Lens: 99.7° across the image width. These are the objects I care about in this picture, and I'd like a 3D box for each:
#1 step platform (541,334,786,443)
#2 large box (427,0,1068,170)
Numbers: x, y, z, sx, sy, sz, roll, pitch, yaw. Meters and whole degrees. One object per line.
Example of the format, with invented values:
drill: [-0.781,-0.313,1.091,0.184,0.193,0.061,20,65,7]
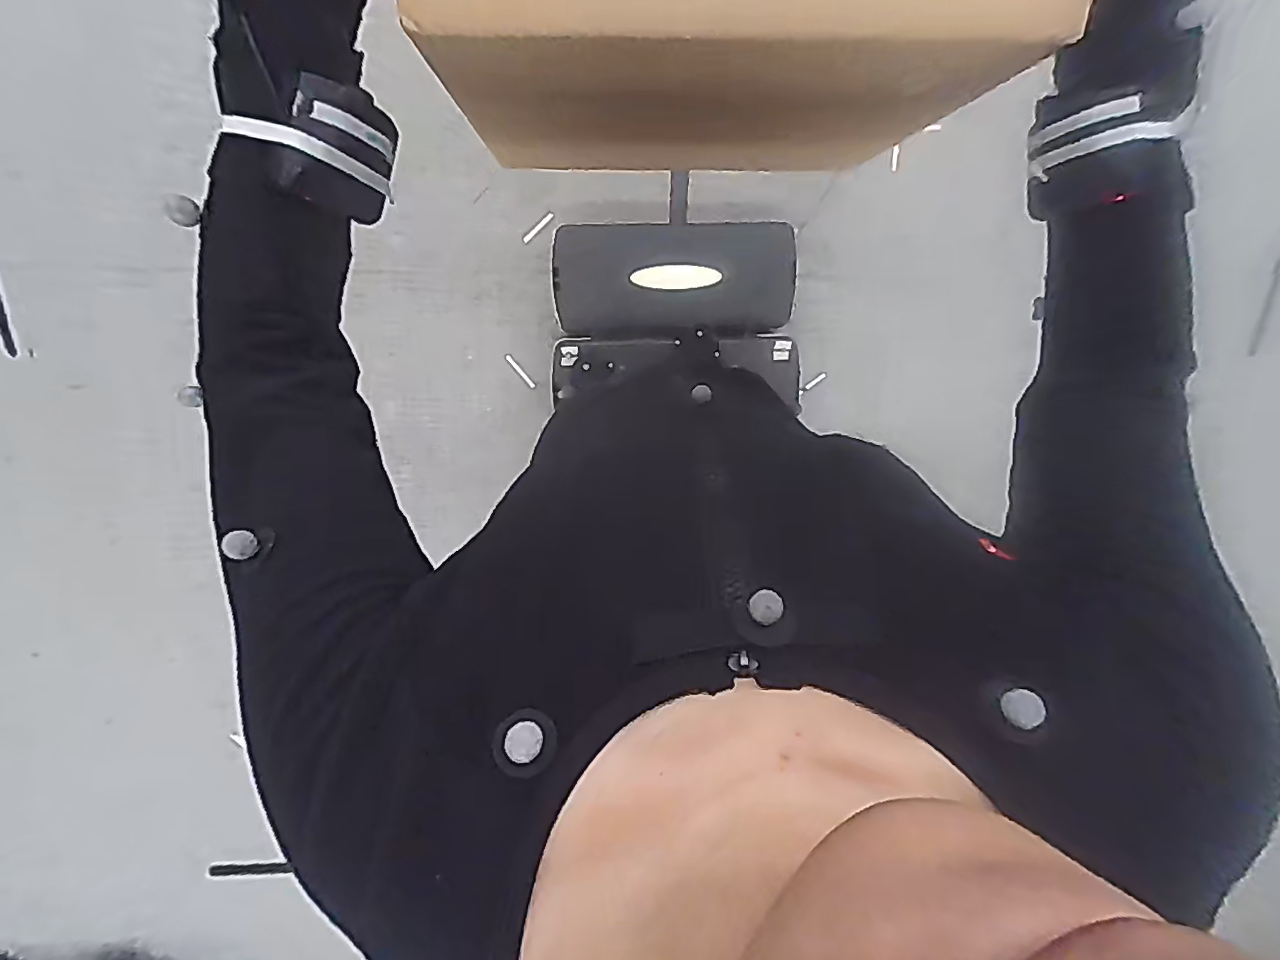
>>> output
step platform: [0.065,-0.261,1.539,0.684,0.204,0.286,-2,104,-2]
large box: [0.055,-0.460,0.430,0.408,0.320,0.320,-2,108,-4]
